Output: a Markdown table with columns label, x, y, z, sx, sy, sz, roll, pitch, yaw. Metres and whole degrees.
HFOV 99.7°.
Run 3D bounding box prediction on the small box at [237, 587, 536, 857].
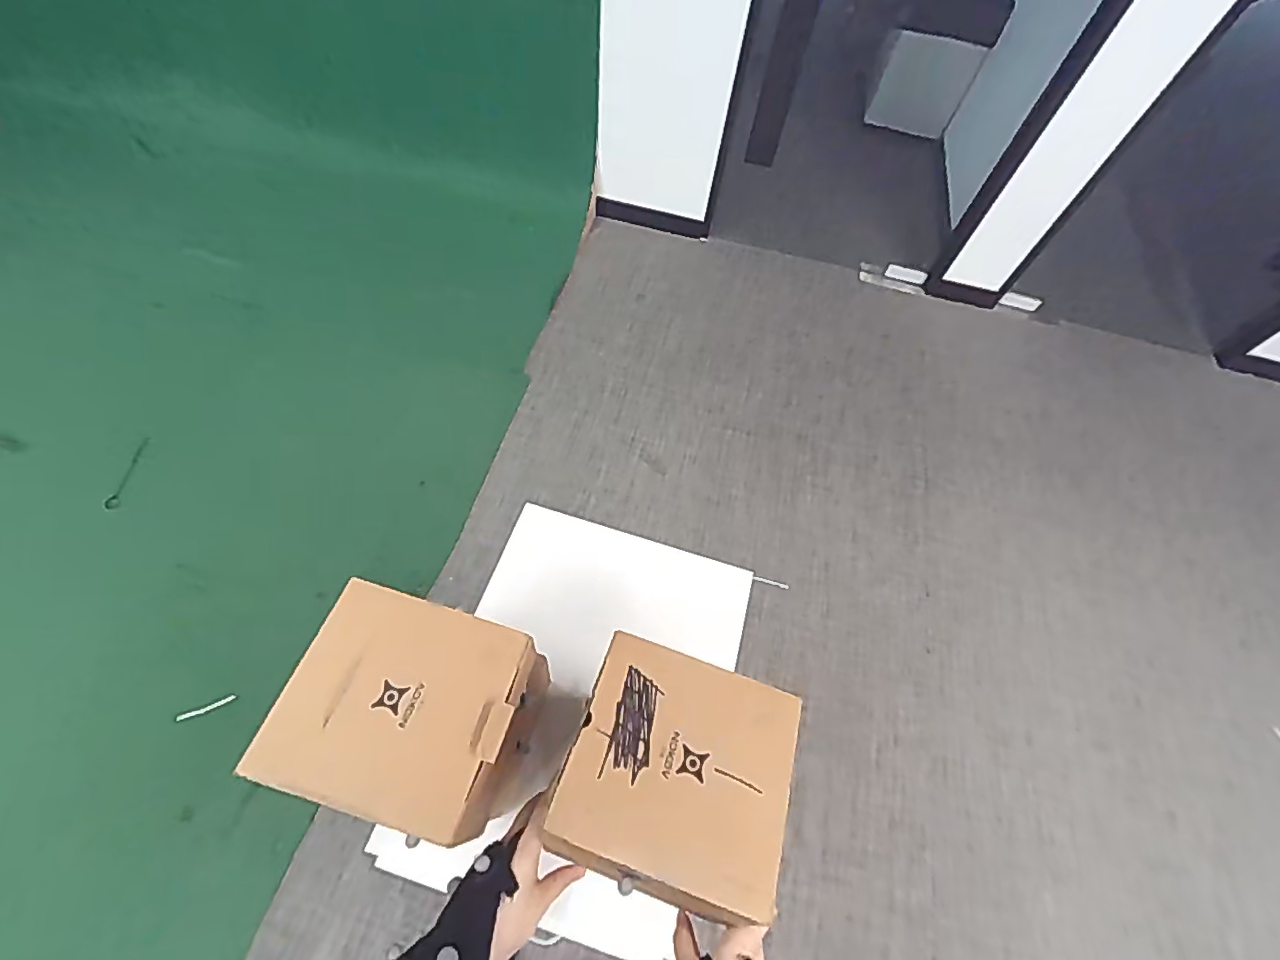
| label | x | y | z | sx | sy | sz | roll | pitch | yaw |
| --- | --- | --- | --- | --- | --- | --- | --- | --- | --- |
| small box | -0.207 | 0.227 | 0.509 | 0.179 | 0.176 | 0.168 | 17 | 57 | 3 |

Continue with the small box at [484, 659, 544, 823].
| label | x | y | z | sx | sy | sz | roll | pitch | yaw |
| --- | --- | --- | --- | --- | --- | --- | --- | --- | --- |
| small box | -0.221 | 0.297 | 0.655 | 0.168 | 0.176 | 0.179 | 18 | 59 | 2 |

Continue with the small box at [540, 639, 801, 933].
| label | x | y | z | sx | sy | sz | roll | pitch | yaw |
| --- | --- | --- | --- | --- | --- | --- | --- | --- | --- |
| small box | 0.024 | 0.278 | 0.491 | 0.179 | 0.176 | 0.168 | 19 | 51 | 6 |
